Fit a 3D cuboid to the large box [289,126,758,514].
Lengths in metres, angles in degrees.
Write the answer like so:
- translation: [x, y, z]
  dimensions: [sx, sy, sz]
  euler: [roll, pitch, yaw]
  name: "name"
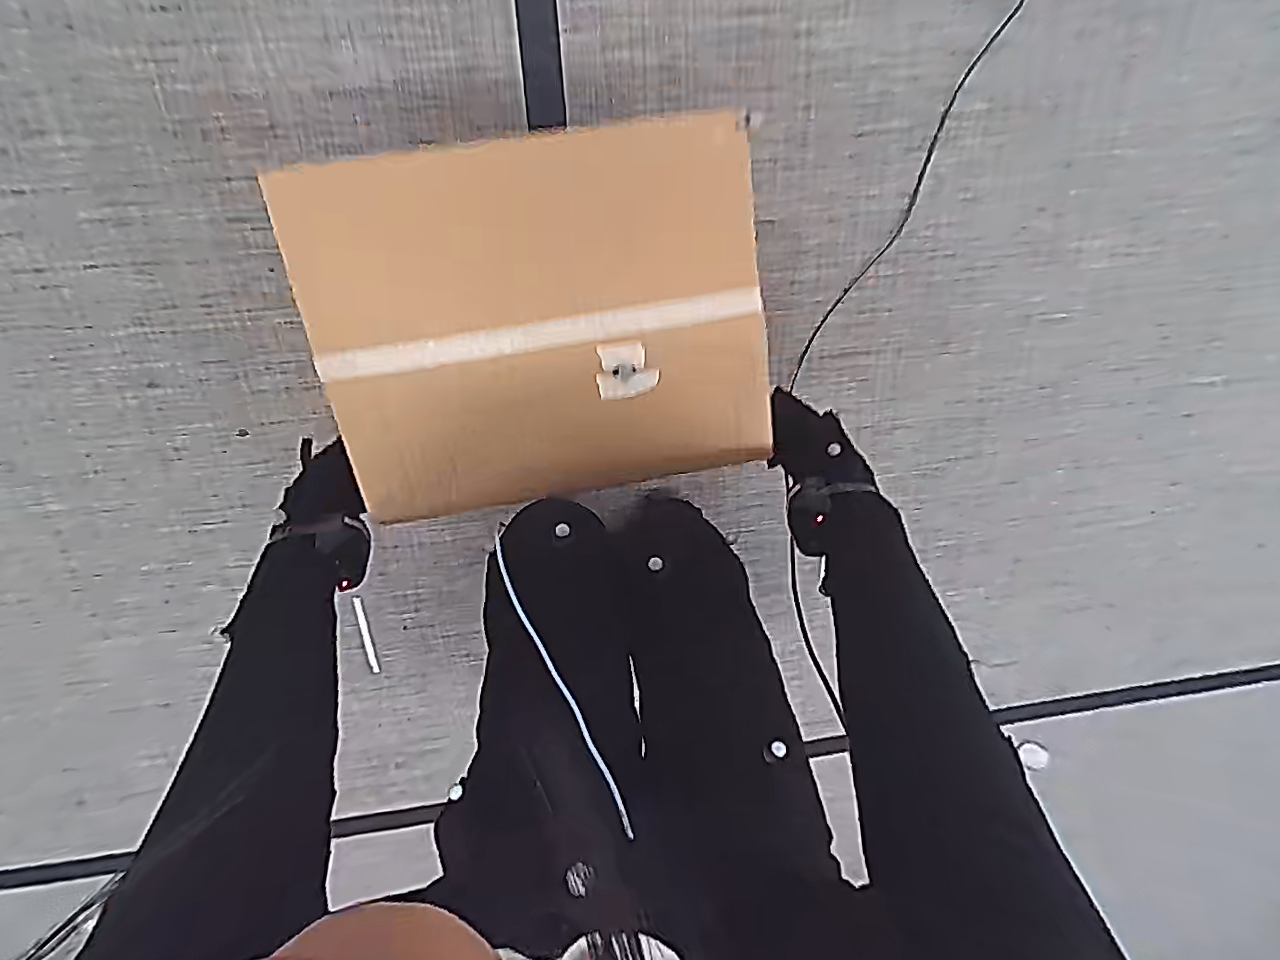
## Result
- translation: [-0.107, -0.187, 0.665]
  dimensions: [0.408, 0.320, 0.320]
  euler: [-10, 110, -4]
  name: "large box"
